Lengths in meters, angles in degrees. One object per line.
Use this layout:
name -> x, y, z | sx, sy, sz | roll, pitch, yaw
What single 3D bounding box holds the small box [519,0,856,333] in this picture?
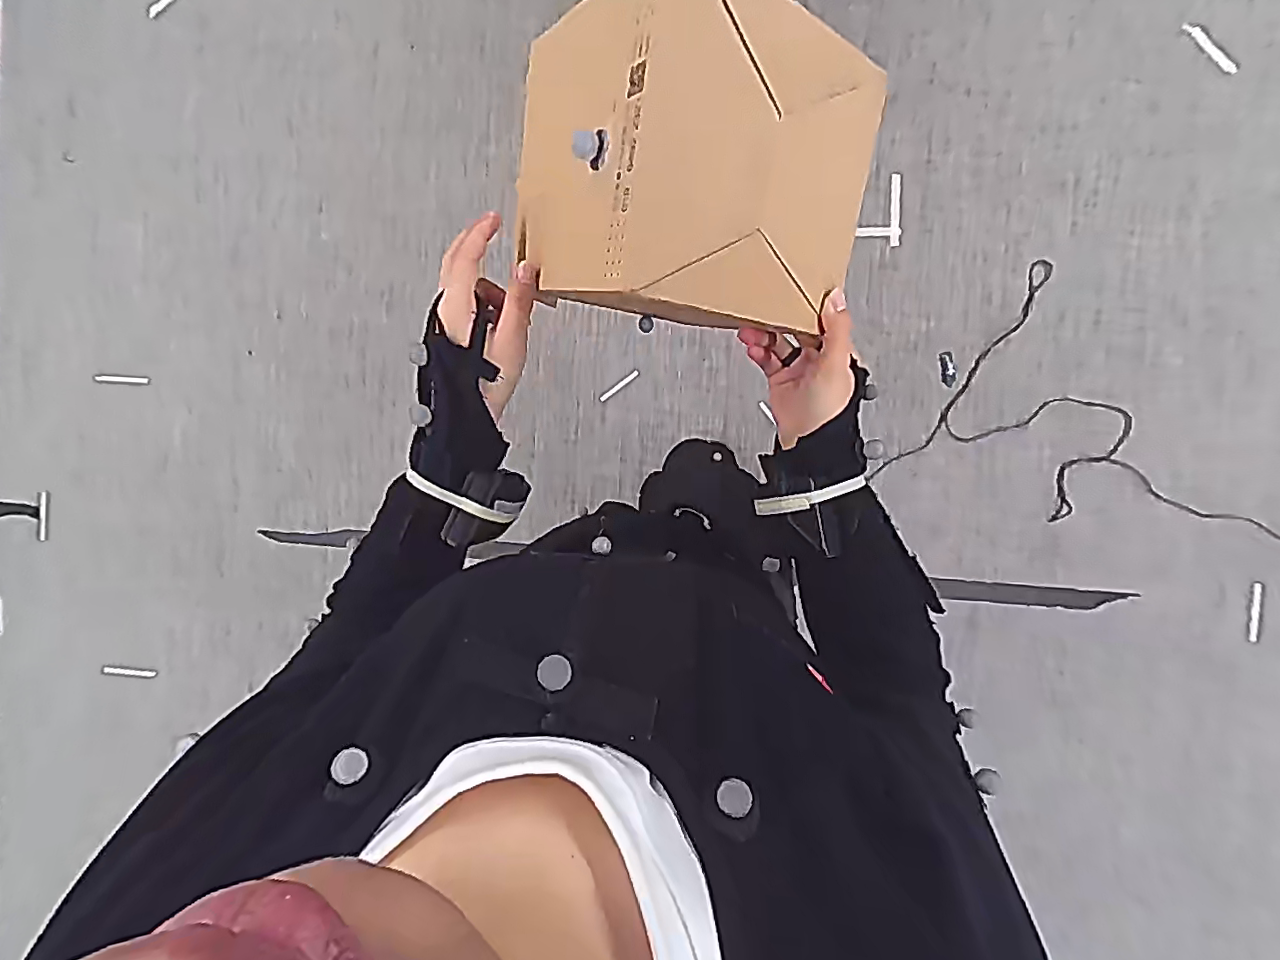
small box -> 0.033, -0.204, 0.388 | 0.179, 0.176, 0.168 | -1, 107, -36
